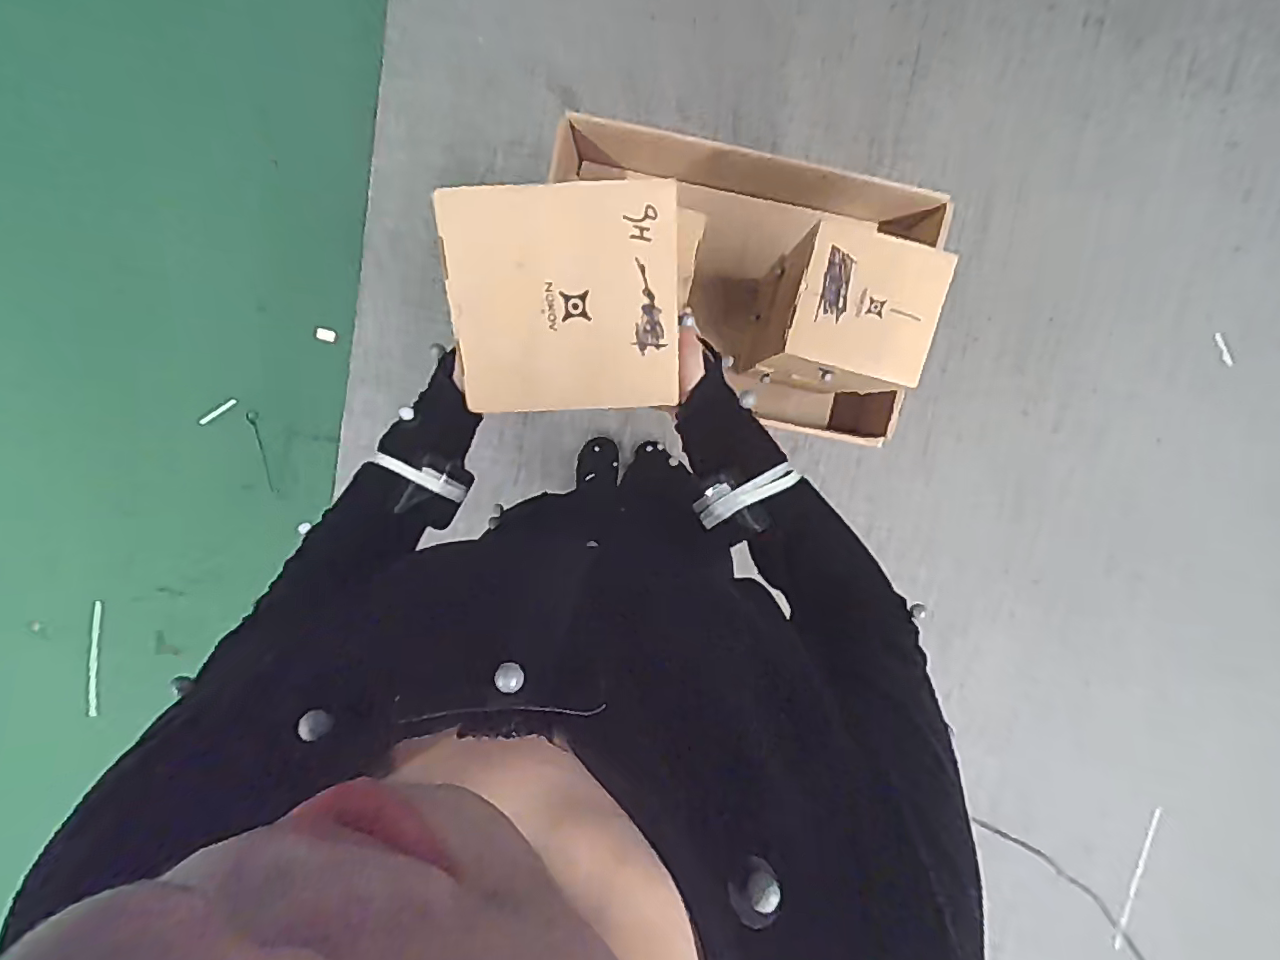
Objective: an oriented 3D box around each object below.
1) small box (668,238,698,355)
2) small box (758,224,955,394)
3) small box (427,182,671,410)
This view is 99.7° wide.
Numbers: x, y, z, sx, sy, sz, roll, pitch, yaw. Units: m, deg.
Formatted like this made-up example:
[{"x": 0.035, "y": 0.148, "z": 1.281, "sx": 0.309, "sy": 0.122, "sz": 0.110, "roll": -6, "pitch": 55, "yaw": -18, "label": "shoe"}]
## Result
[{"x": -0.015, "y": -0.303, "z": 0.895, "sx": 0.179, "sy": 0.176, "sz": 0.168, "roll": 14, "pitch": 98, "yaw": -2, "label": "small box"}, {"x": 0.276, "y": -0.216, "z": 0.734, "sx": 0.179, "sy": 0.176, "sz": 0.168, "roll": 15, "pitch": 97, "yaw": -2, "label": "small box"}, {"x": -0.063, "y": -0.163, "z": 0.483, "sx": 0.179, "sy": 0.176, "sz": 0.168, "roll": -1, "pitch": 113, "yaw": 0, "label": "small box"}]
